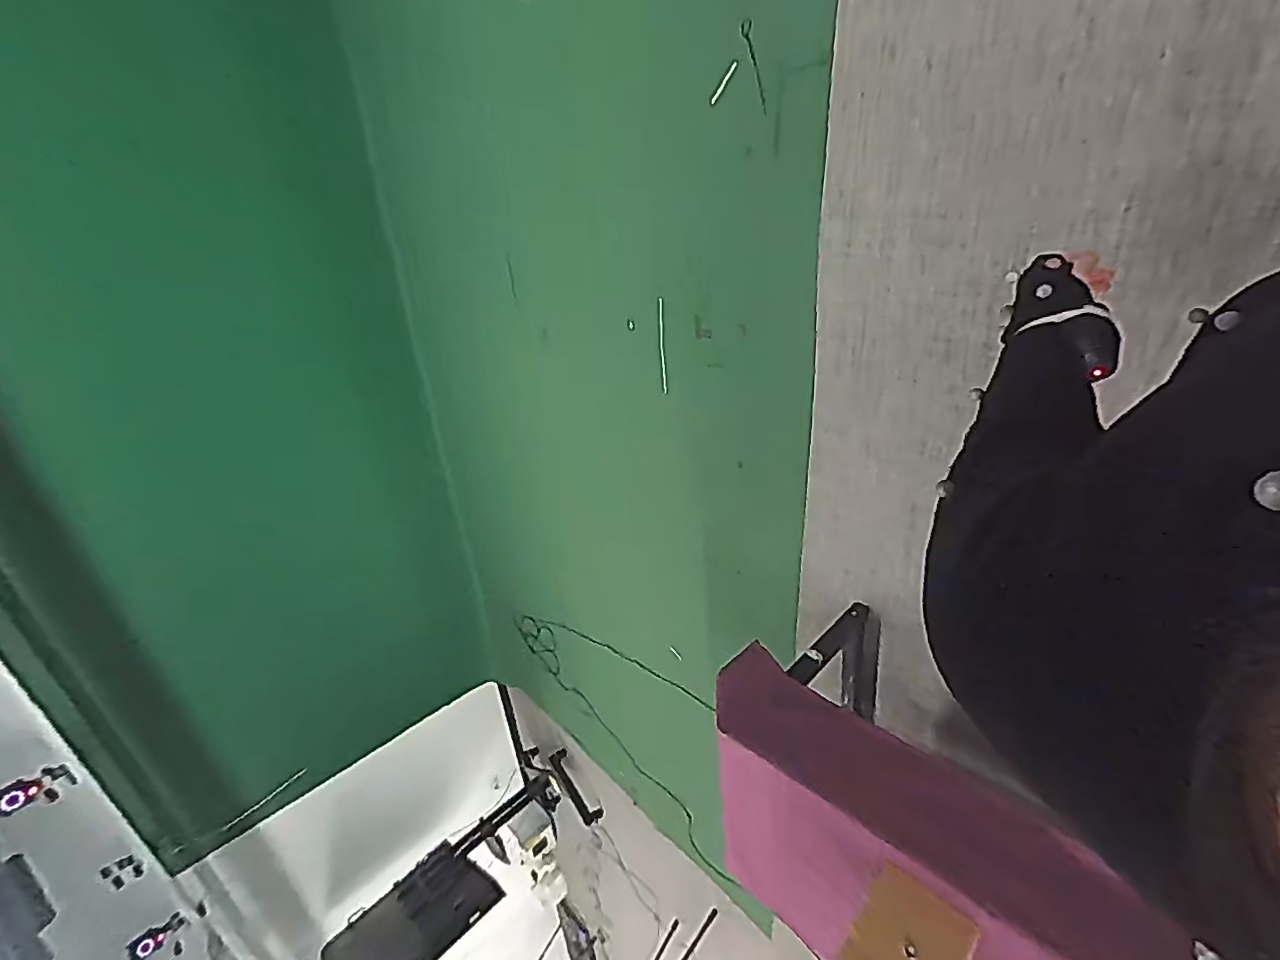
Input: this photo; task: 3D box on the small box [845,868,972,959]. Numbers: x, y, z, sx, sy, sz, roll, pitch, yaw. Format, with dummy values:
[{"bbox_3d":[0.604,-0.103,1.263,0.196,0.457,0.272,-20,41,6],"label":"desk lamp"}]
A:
[{"bbox_3d":[0.515,0.917,1.048,0.179,0.176,0.168,20,124,43],"label":"small box"}]
